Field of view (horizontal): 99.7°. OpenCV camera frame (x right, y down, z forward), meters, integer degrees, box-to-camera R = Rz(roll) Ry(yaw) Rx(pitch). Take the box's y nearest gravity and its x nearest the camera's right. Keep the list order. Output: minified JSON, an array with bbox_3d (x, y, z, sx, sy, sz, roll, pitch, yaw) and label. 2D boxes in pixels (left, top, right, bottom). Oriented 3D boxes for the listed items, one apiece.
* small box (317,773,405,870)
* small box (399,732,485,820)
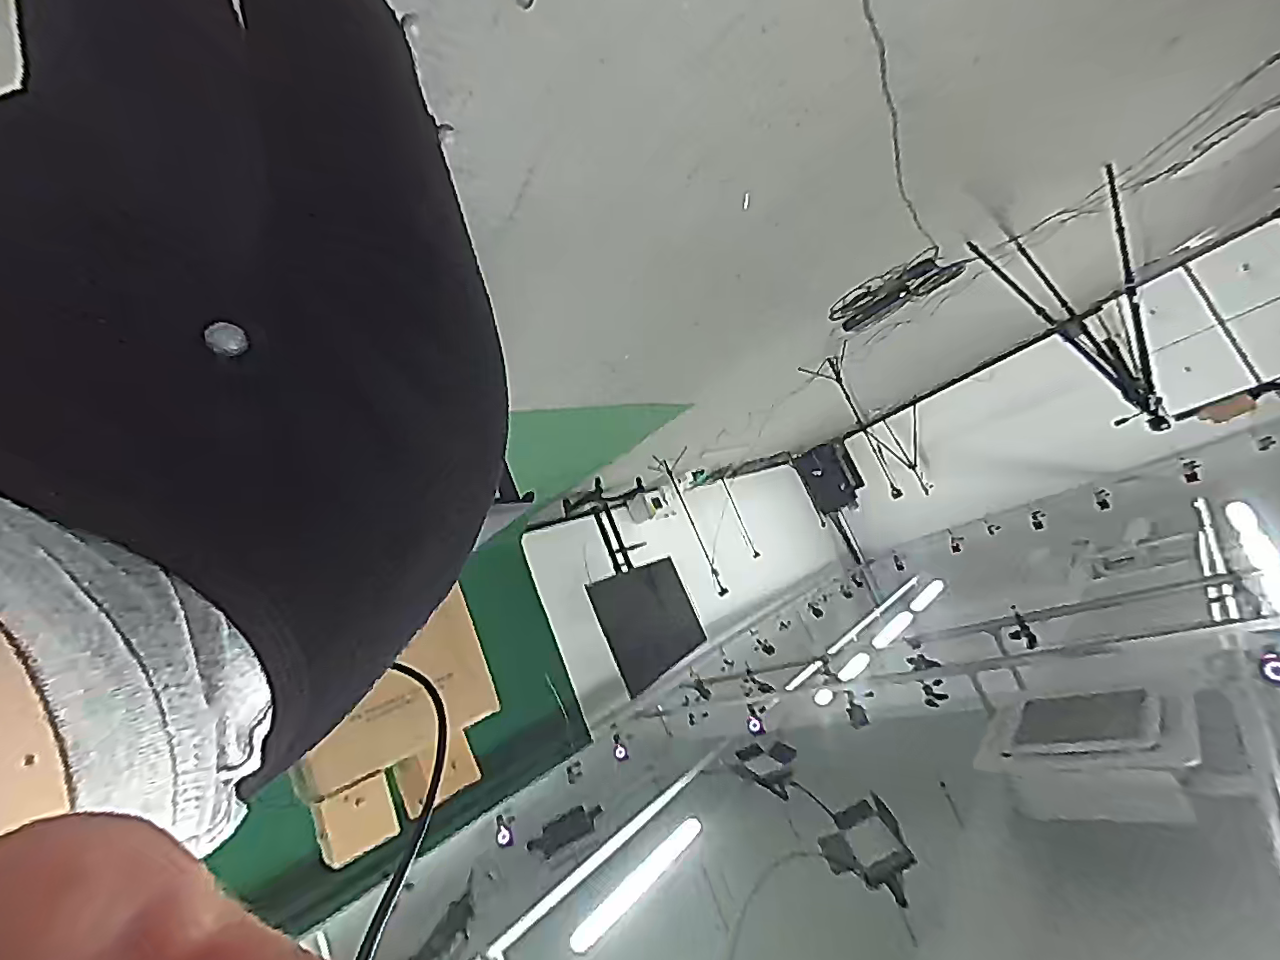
[{"bbox_3d":[-0.782,0.940,1.505,0.168,0.176,0.179,-12,164,-42],"label":"small box"},{"bbox_3d":[-0.641,0.948,1.745,0.168,0.176,0.179,-42,159,29],"label":"small box"}]
